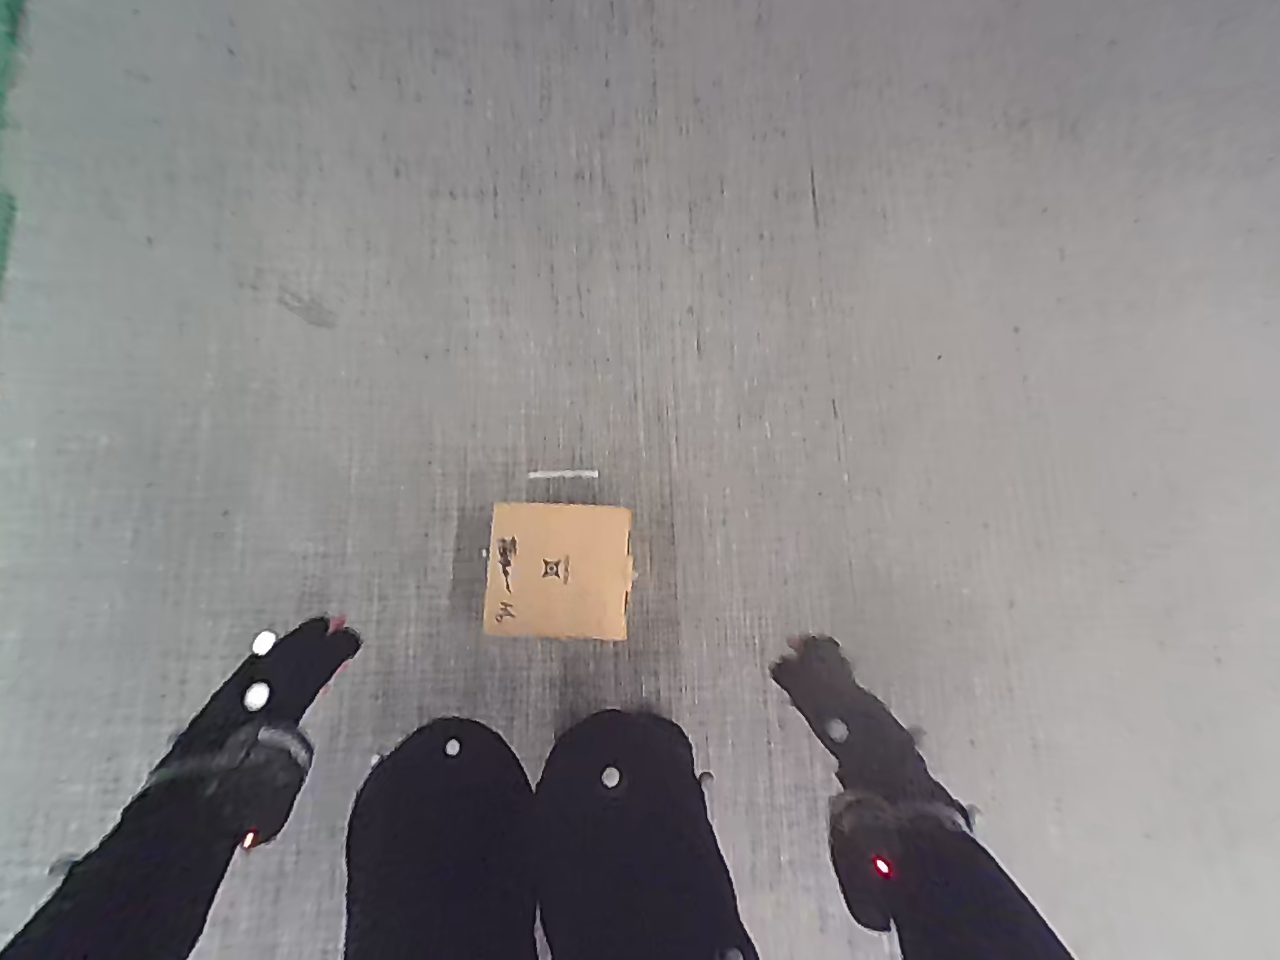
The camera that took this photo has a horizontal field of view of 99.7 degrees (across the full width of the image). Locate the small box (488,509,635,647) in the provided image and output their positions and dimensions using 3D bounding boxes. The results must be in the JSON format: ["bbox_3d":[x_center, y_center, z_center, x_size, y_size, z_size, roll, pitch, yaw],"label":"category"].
[{"bbox_3d":[-0.102,0.137,0.760,0.179,0.176,0.168,3,78,-3],"label":"small box"}]
